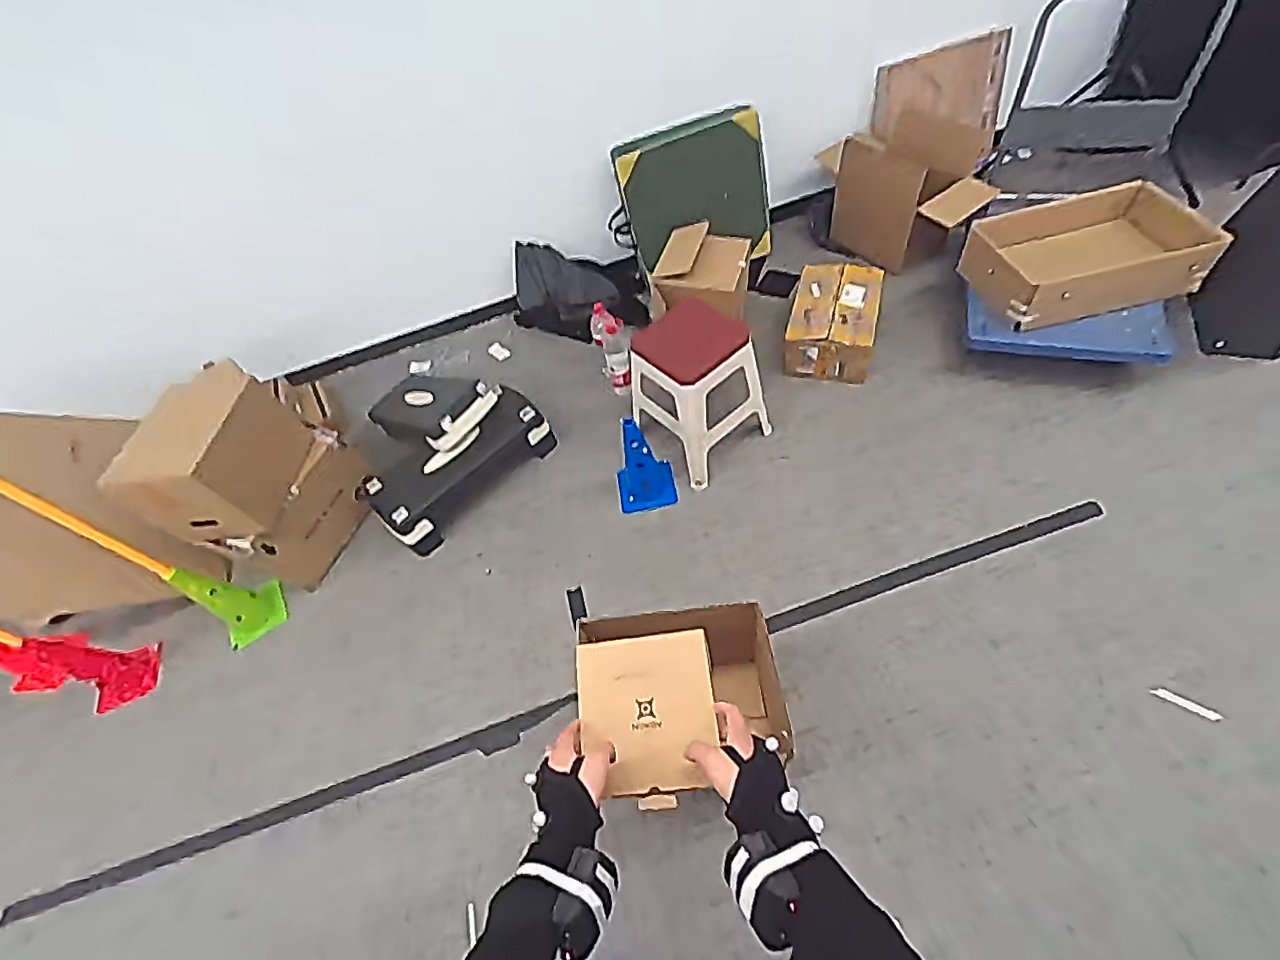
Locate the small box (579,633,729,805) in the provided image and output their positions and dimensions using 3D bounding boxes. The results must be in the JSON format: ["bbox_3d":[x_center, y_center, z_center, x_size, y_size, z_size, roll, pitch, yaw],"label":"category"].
[{"bbox_3d":[0.023,0.306,0.708,0.168,0.176,0.179,-9,66,5],"label":"small box"}]
